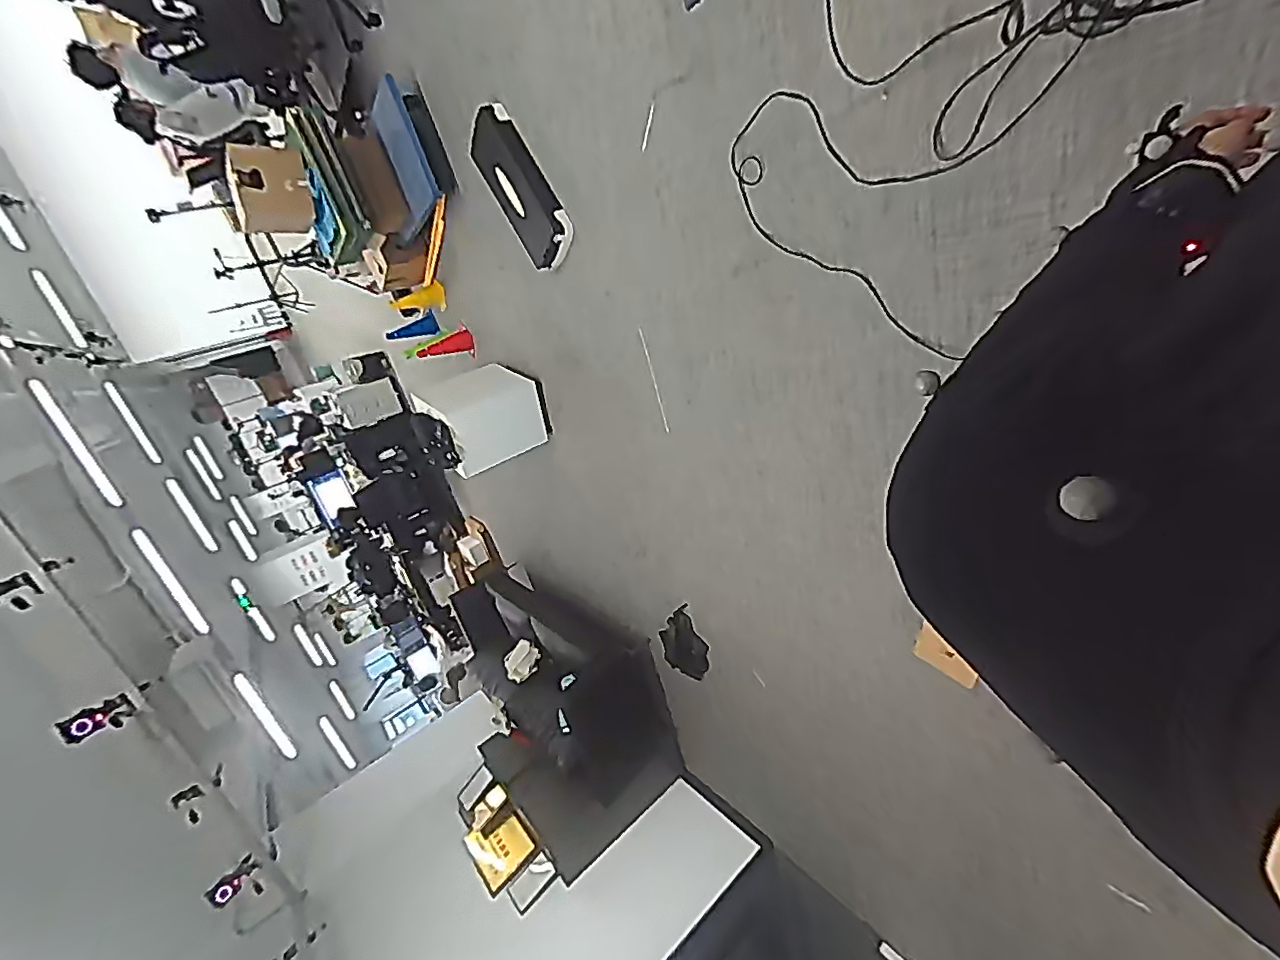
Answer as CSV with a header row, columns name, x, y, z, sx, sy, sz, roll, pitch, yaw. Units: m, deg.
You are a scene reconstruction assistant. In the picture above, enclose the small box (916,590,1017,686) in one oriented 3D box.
name,x,y,z,sx,sy,sz,roll,pitch,yaw
small box,0.944,0.447,1.568,0.179,0.176,0.168,31,140,40
